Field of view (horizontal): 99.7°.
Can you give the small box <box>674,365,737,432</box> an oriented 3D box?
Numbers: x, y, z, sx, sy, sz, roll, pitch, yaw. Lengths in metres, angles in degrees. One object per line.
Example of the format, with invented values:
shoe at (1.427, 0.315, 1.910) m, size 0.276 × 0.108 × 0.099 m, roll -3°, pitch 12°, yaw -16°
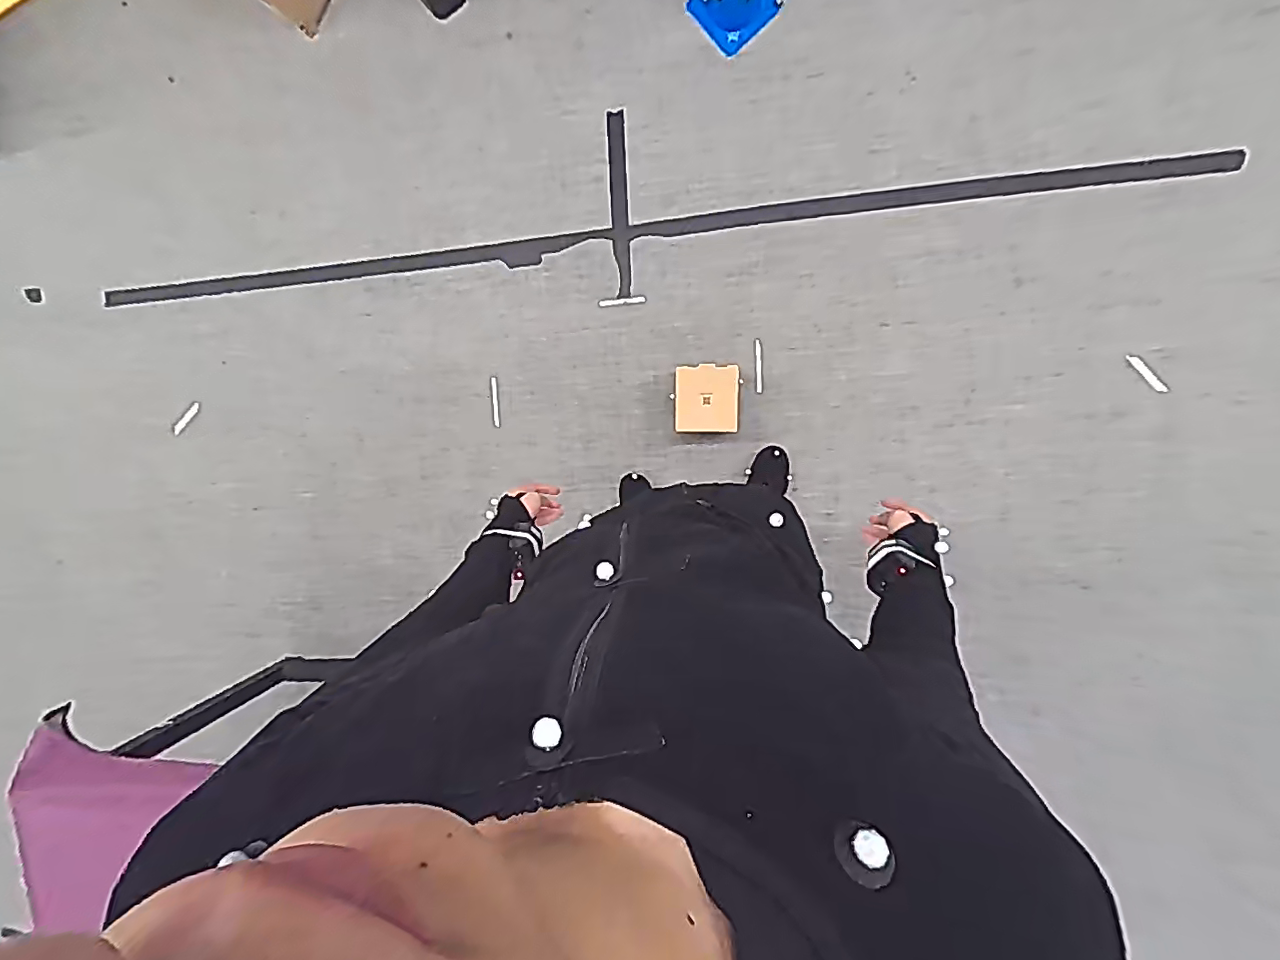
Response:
small box at (0.184, -0.225, 1.510) m, size 0.168 × 0.176 × 0.179 m, roll 1°, pitch 95°, yaw 7°
